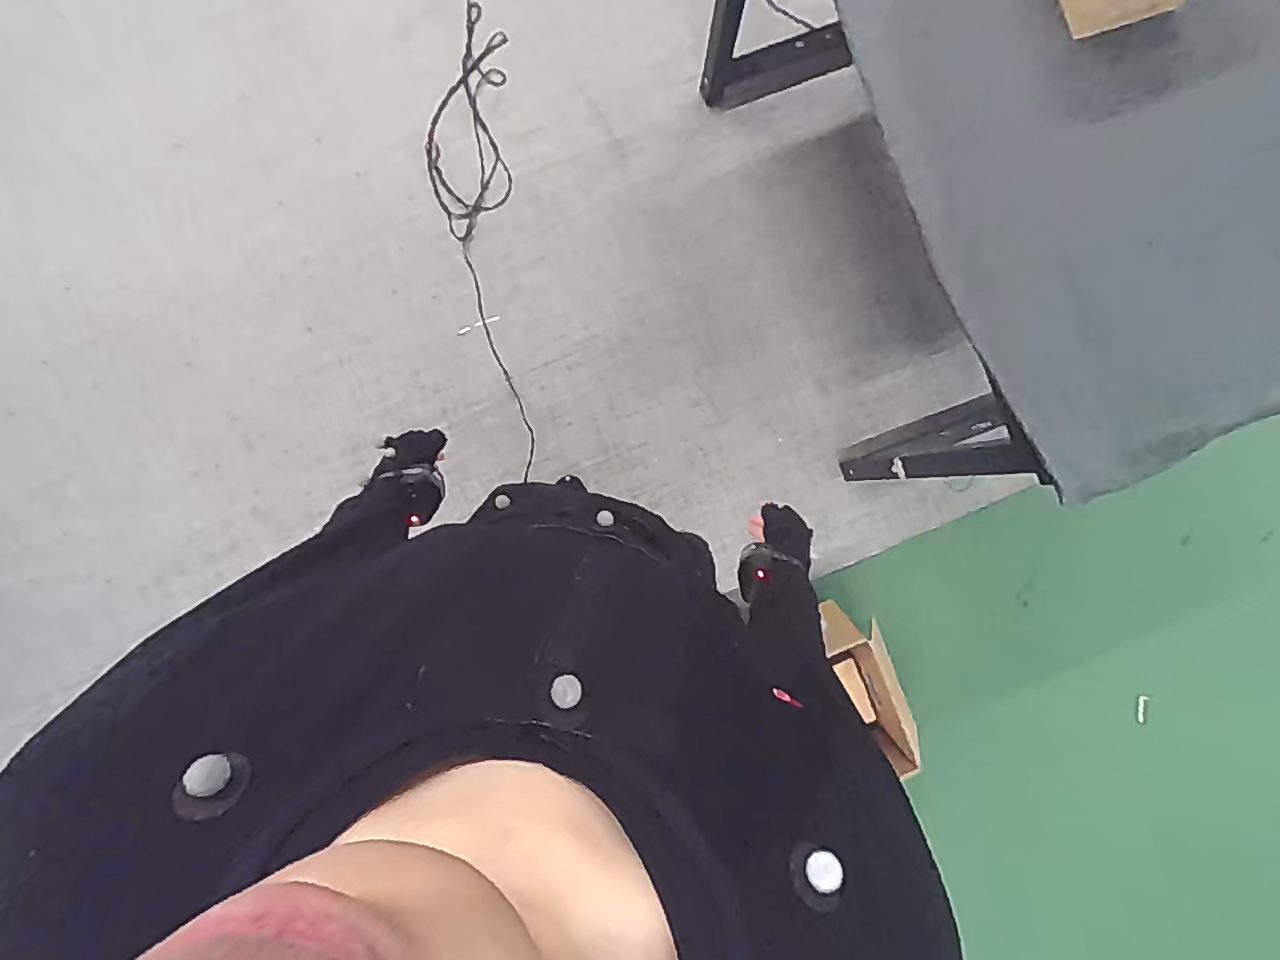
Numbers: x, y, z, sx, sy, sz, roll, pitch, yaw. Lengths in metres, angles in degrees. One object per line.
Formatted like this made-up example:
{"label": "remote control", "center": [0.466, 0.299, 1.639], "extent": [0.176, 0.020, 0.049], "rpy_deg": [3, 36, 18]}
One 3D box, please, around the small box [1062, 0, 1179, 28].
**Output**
{"label": "small box", "center": [0.677, -0.741, 0.701], "extent": [0.168, 0.176, 0.179], "rpy_deg": [-18, 90, -2]}
